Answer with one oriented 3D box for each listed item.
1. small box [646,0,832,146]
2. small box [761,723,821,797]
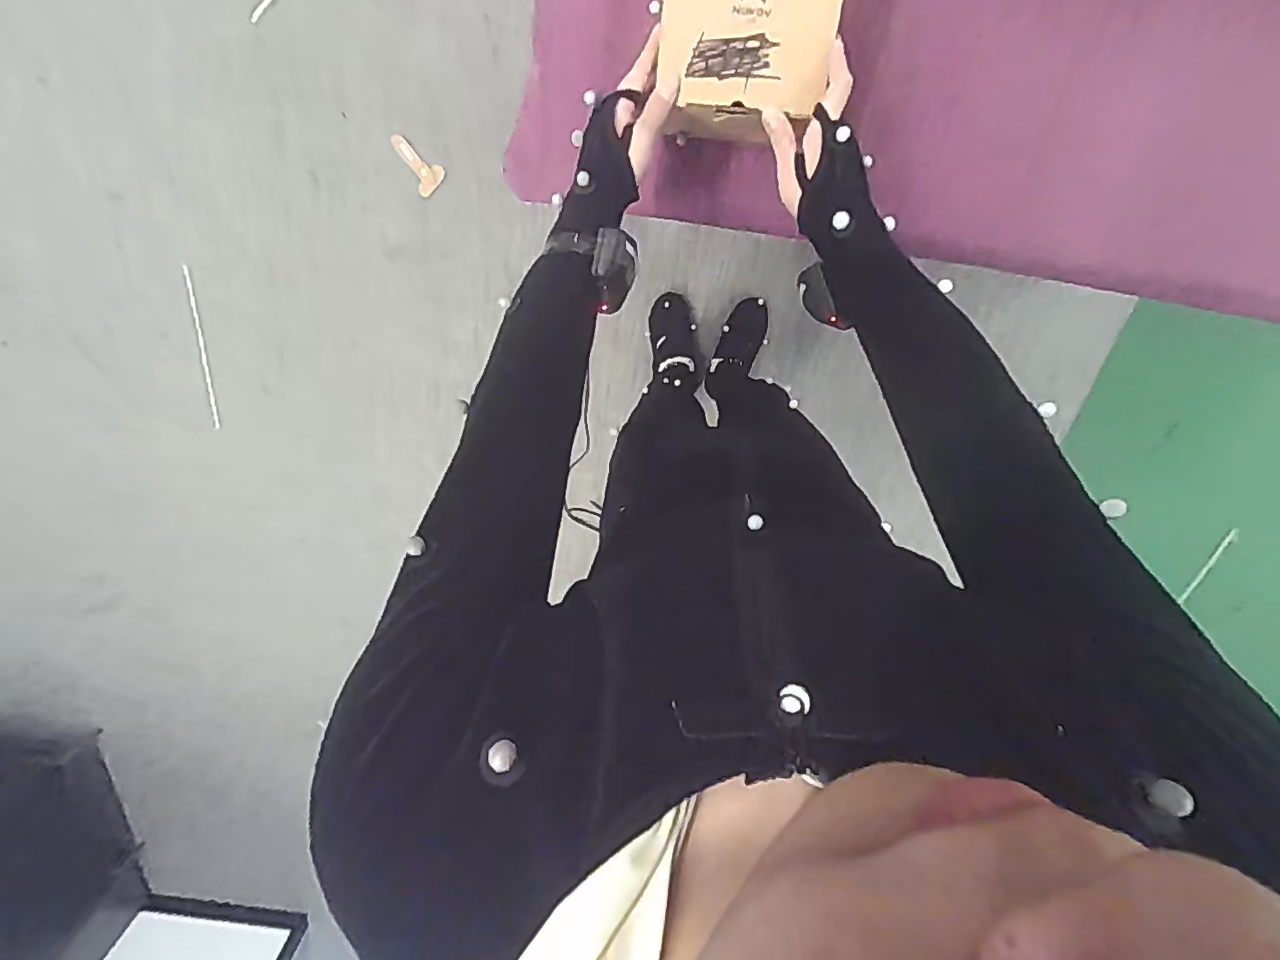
[{"bbox_3d":[0.099,-0.469,0.572,0.168,0.176,0.179,6,113,1],"label":"small box"},{"bbox_3d":[0.568,1.067,2.064,0.168,0.176,0.179,10,117,-1],"label":"small box"}]
